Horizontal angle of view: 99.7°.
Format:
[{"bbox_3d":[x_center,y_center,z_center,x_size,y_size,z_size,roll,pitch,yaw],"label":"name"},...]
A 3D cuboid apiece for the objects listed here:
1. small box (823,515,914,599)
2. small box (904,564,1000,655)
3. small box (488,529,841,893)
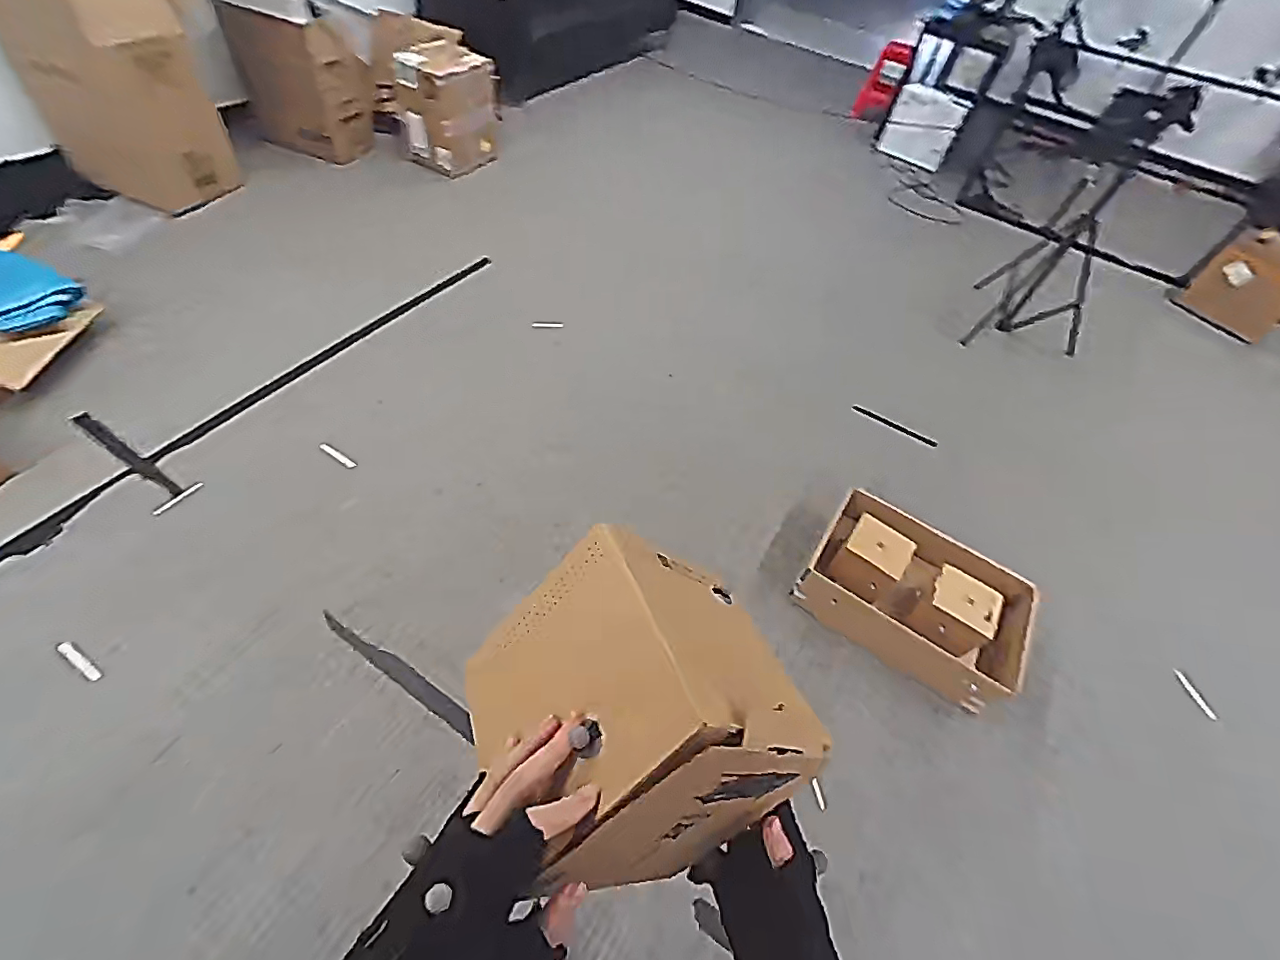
[{"bbox_3d":[0.706,0.247,1.681,0.179,0.176,0.168,33,55,16],"label":"small box"},{"bbox_3d":[0.921,0.389,1.607,0.179,0.176,0.168,30,55,17],"label":"small box"},{"bbox_3d":[0.007,0.166,0.409,0.168,0.179,0.176,32,18,-41],"label":"small box"}]
